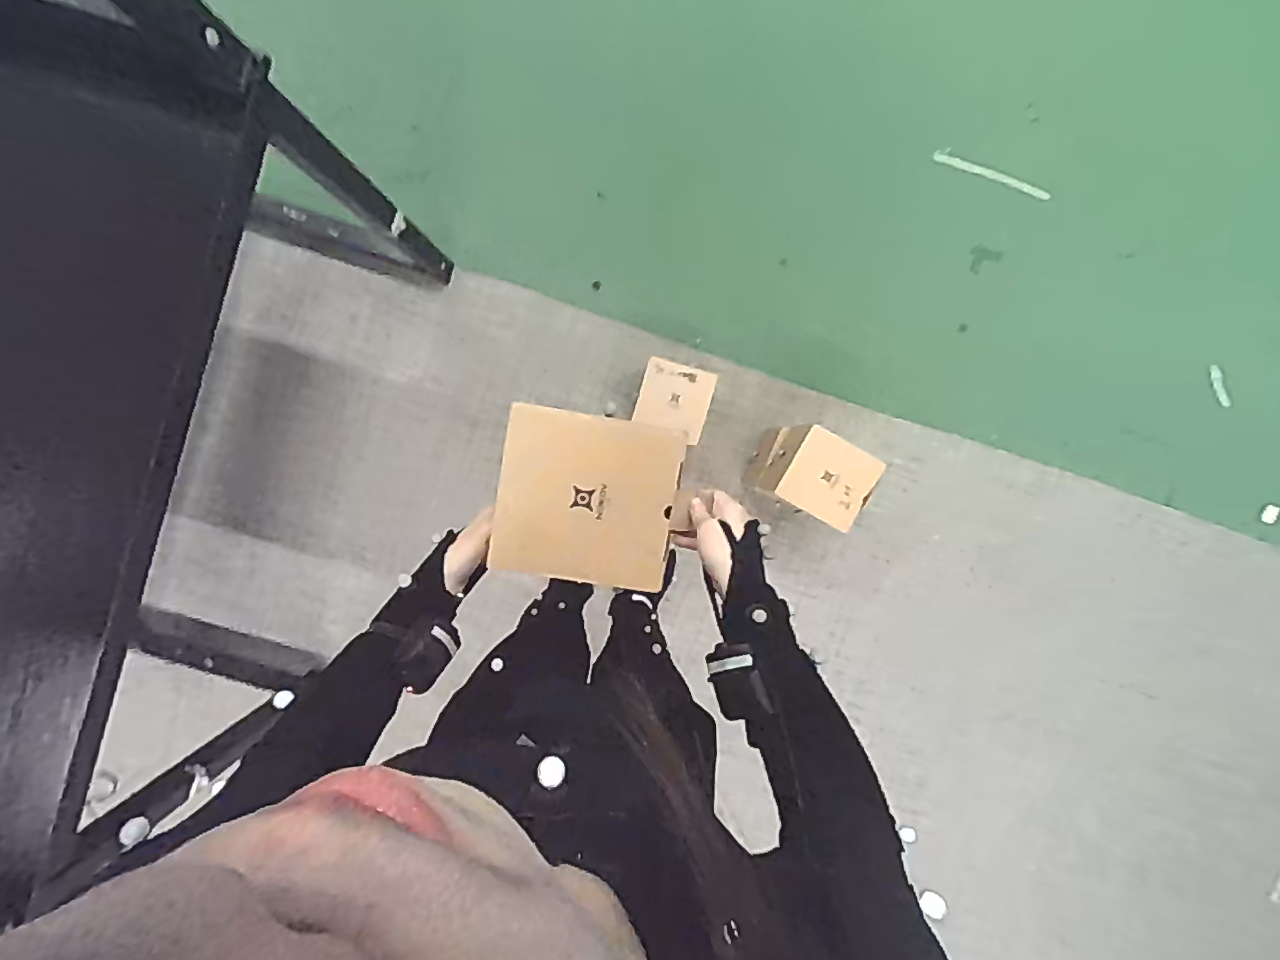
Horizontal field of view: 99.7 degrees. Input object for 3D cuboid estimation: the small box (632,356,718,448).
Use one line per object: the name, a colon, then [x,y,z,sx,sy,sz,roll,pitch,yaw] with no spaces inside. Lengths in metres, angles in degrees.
small box: [0.079,-0.181,1.312,0.168,0.176,0.179,16,93,-1]

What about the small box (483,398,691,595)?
small box: [-0.056,0.012,0.589,0.179,0.176,0.168,9,94,-6]

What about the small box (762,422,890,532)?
small box: [0.385,-0.009,1.159,0.179,0.176,0.168,29,94,-2]
